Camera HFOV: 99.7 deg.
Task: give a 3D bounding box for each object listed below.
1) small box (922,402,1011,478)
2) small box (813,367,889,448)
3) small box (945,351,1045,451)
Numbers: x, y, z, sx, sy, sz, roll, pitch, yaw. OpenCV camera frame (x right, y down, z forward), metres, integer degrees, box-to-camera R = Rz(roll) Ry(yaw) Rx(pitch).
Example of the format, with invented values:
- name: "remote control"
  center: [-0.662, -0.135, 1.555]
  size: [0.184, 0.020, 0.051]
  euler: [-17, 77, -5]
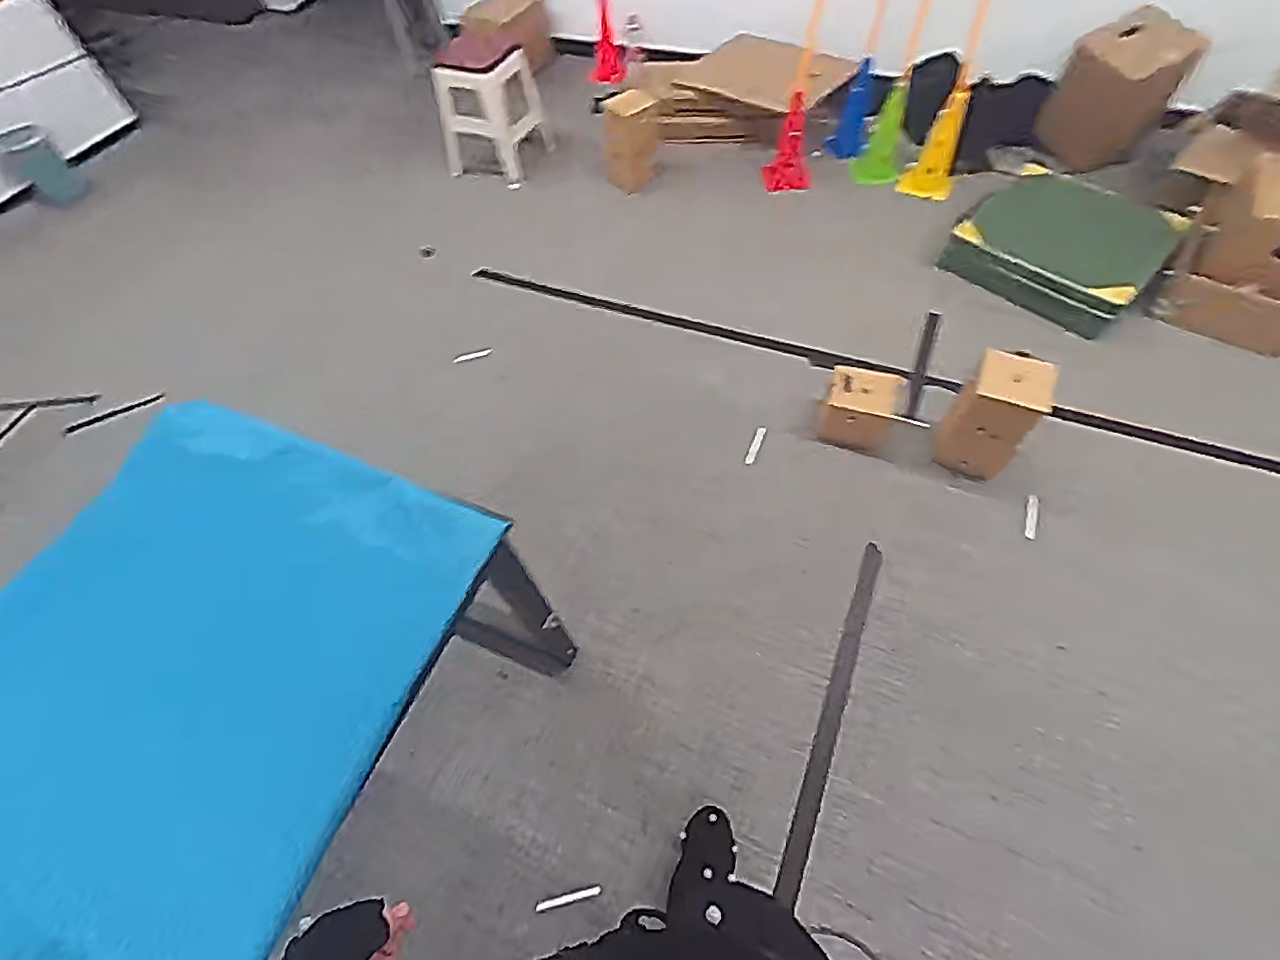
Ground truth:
- name: "small box"
  center: [0.981, -0.130, 1.617]
  size: [0.179, 0.176, 0.168]
  euler: [23, 62, 15]
- name: "small box"
  center: [0.654, -0.221, 1.689]
  size: [0.179, 0.176, 0.168]
  euler: [15, 61, 11]
- name: "small box"
  center: [0.963, -0.213, 1.478]
  size: [0.168, 0.176, 0.179]
  euler: [22, 64, 17]
